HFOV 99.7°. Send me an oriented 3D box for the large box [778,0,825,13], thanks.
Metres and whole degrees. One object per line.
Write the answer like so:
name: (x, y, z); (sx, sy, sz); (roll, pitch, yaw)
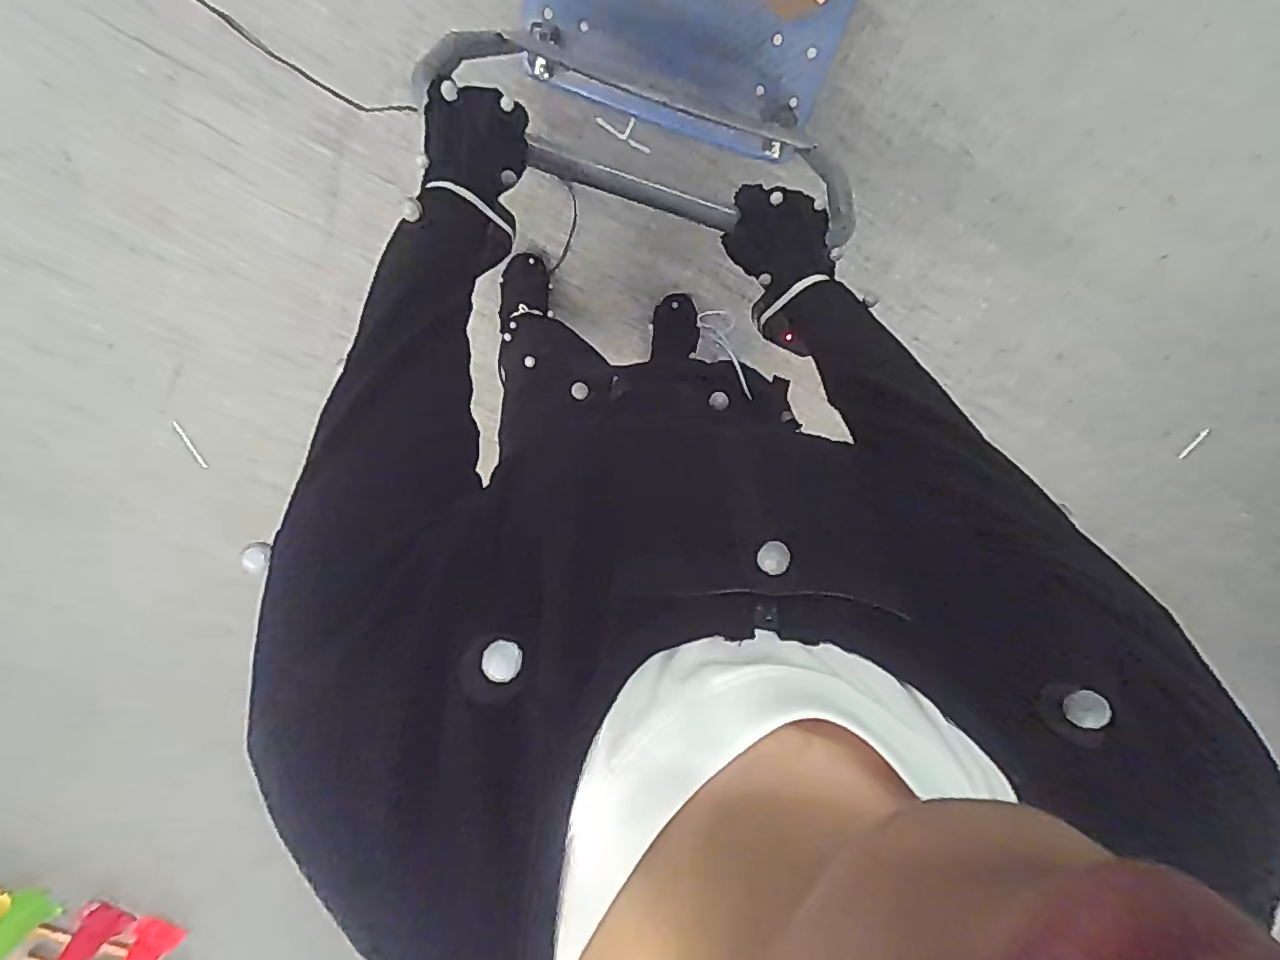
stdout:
large box: (0.181, -0.937, 0.729); (0.408, 0.320, 0.320); (29, 124, -15)
